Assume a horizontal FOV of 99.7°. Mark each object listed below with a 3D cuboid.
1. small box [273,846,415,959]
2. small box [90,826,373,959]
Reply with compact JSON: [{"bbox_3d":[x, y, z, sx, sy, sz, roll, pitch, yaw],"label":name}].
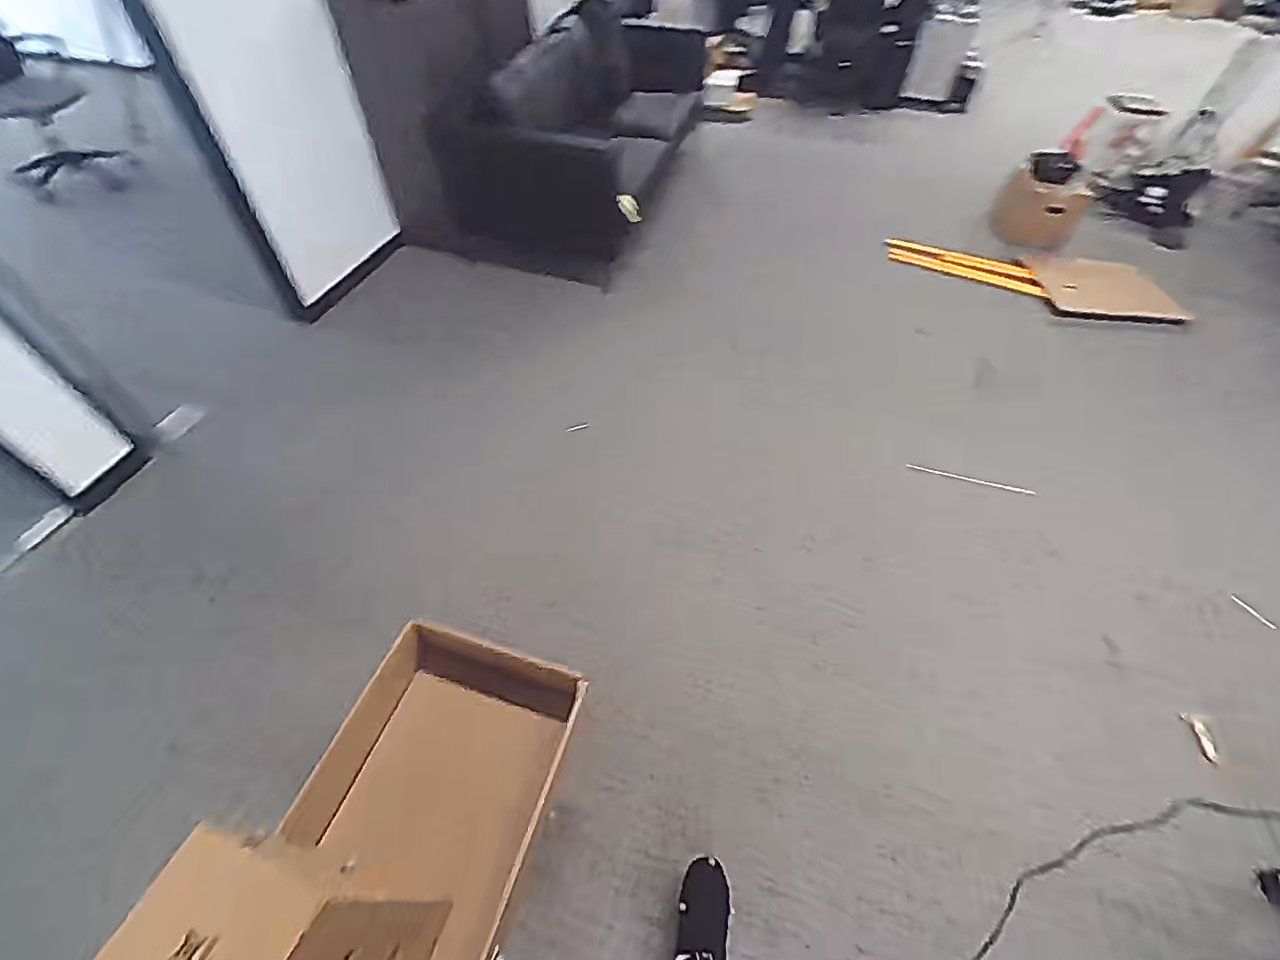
[{"bbox_3d":[-0.432,0.612,0.704,0.179,0.176,0.168,16,52,12],"label":"small box"},{"bbox_3d":[-0.431,0.507,0.577,0.179,0.176,0.168,18,53,13],"label":"small box"}]
